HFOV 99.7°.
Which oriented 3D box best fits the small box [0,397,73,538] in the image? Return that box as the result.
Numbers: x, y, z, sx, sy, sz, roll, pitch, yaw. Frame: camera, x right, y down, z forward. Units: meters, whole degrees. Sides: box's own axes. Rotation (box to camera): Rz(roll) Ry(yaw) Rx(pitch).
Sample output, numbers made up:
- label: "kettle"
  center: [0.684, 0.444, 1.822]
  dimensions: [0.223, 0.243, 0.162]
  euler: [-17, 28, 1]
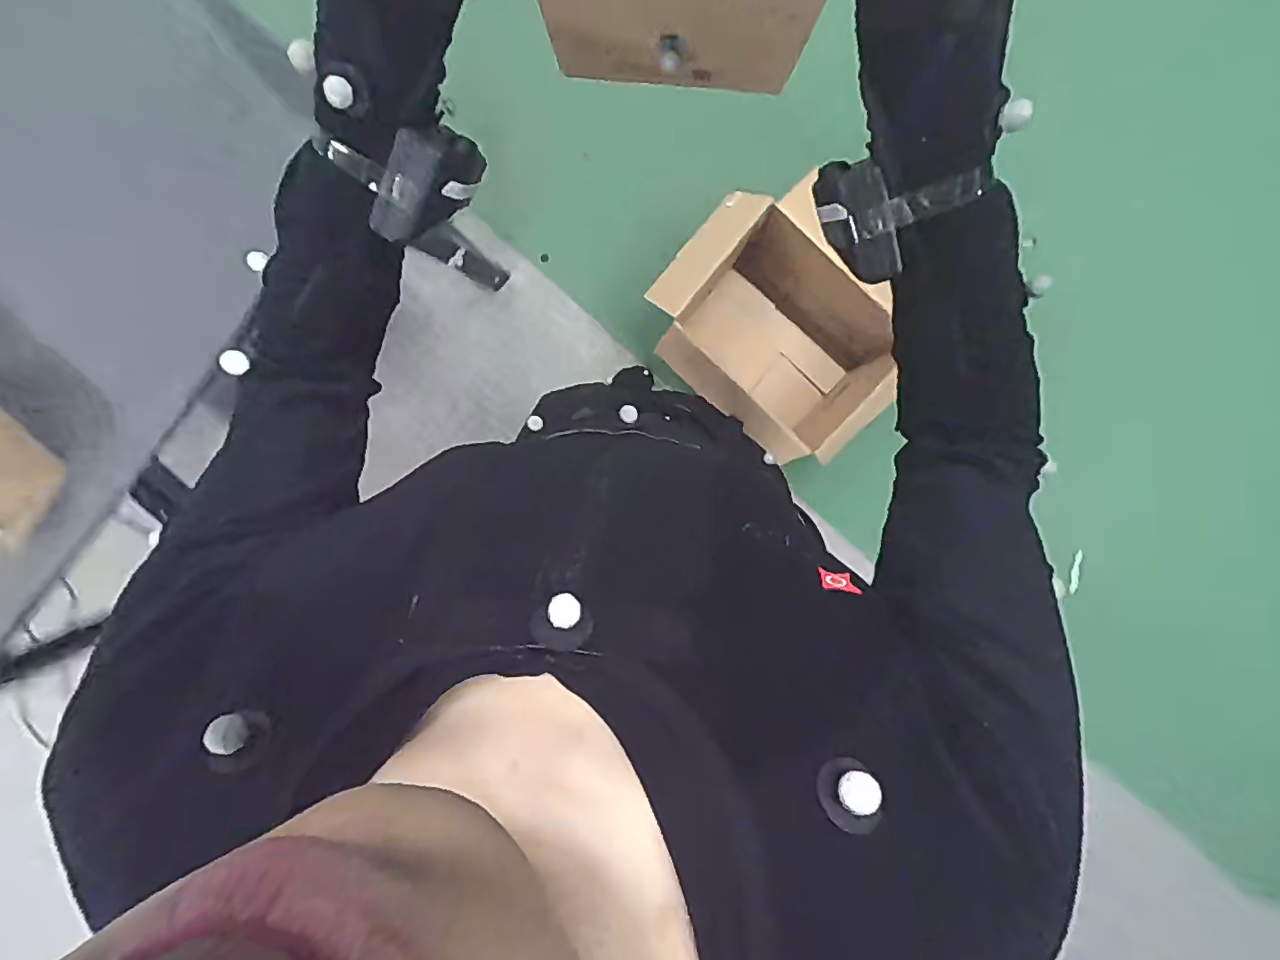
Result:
- label: "small box"
  center: [-0.948, -0.013, 0.722]
  dimensions: [0.168, 0.176, 0.179]
  euler: [-44, 93, 9]

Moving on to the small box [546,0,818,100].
- label: "small box"
  center: [0.026, -0.361, 0.310]
  dimensions: [0.168, 0.176, 0.179]
  euler: [5, 101, 1]
